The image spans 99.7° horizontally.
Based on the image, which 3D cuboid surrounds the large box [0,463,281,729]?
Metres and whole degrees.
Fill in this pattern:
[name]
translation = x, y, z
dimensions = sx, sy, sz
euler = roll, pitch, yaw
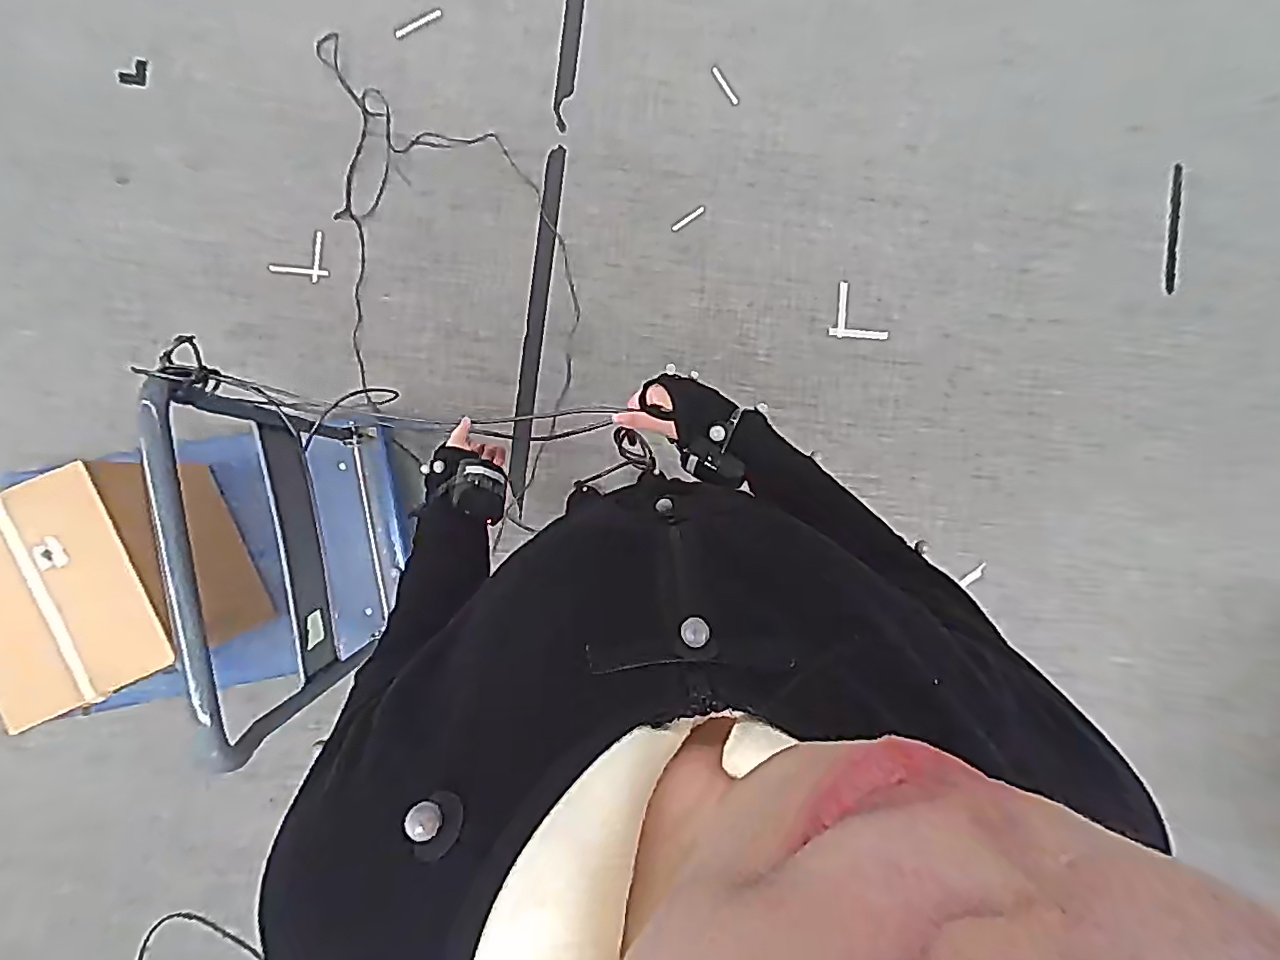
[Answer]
[large box]
translation = -1.057, 0.211, 1.122
dimensions = 0.320, 0.320, 0.408
euler = -25, 91, -3
